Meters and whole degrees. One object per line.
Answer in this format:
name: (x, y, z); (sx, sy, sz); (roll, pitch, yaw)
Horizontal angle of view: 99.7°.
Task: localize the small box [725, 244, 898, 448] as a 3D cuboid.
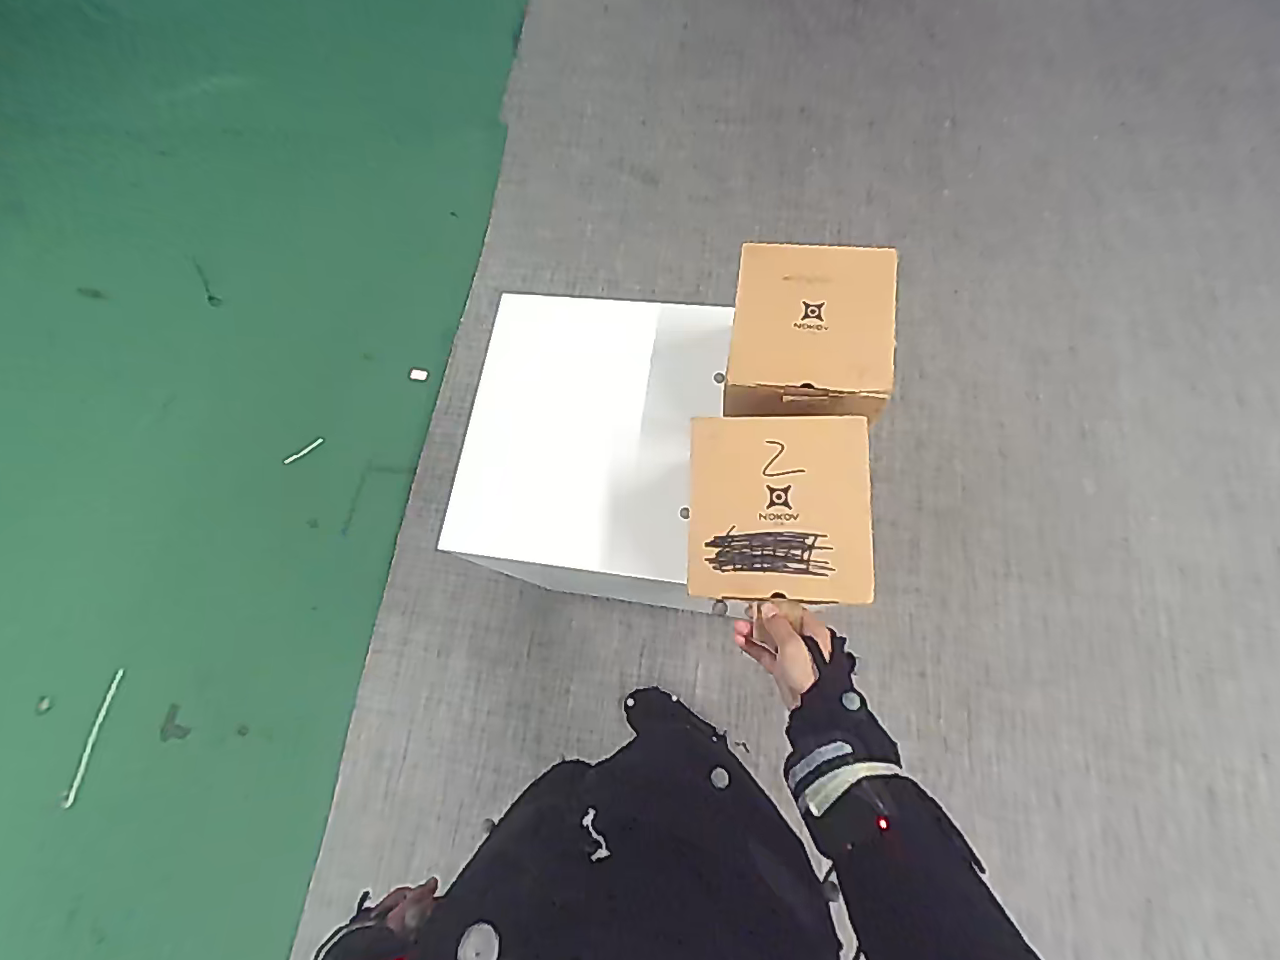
small box: (0.192, -0.150, 0.643); (0.168, 0.176, 0.179); (6, 73, 9)
